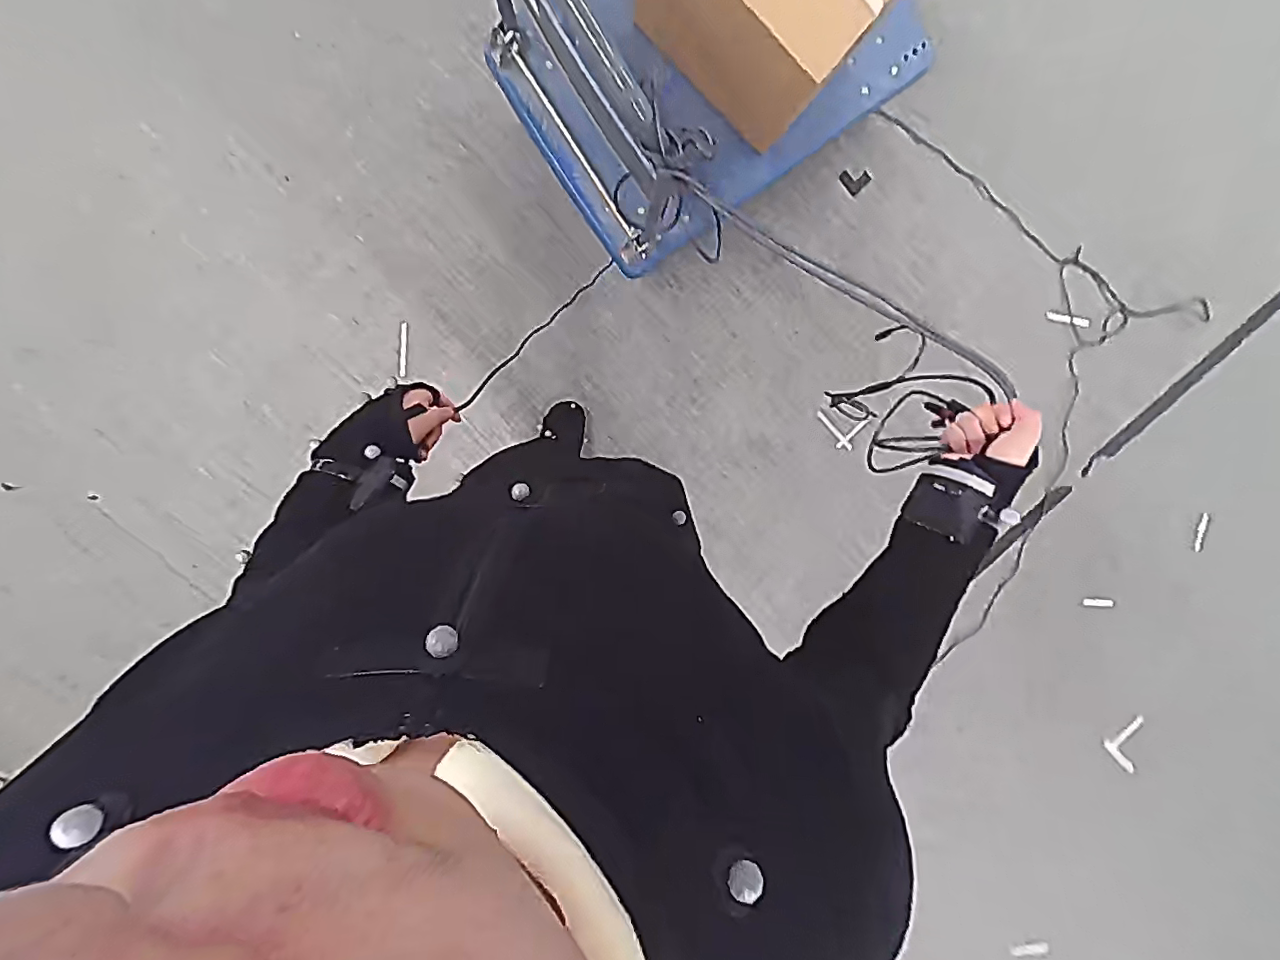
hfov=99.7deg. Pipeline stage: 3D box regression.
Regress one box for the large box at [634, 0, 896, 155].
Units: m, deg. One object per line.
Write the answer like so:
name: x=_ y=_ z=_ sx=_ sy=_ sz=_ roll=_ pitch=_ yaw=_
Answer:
large box: x=0.245 y=-0.950 z=1.048 sx=0.408 sy=0.320 sz=0.320 roll=40 pitch=94 yaw=-11
